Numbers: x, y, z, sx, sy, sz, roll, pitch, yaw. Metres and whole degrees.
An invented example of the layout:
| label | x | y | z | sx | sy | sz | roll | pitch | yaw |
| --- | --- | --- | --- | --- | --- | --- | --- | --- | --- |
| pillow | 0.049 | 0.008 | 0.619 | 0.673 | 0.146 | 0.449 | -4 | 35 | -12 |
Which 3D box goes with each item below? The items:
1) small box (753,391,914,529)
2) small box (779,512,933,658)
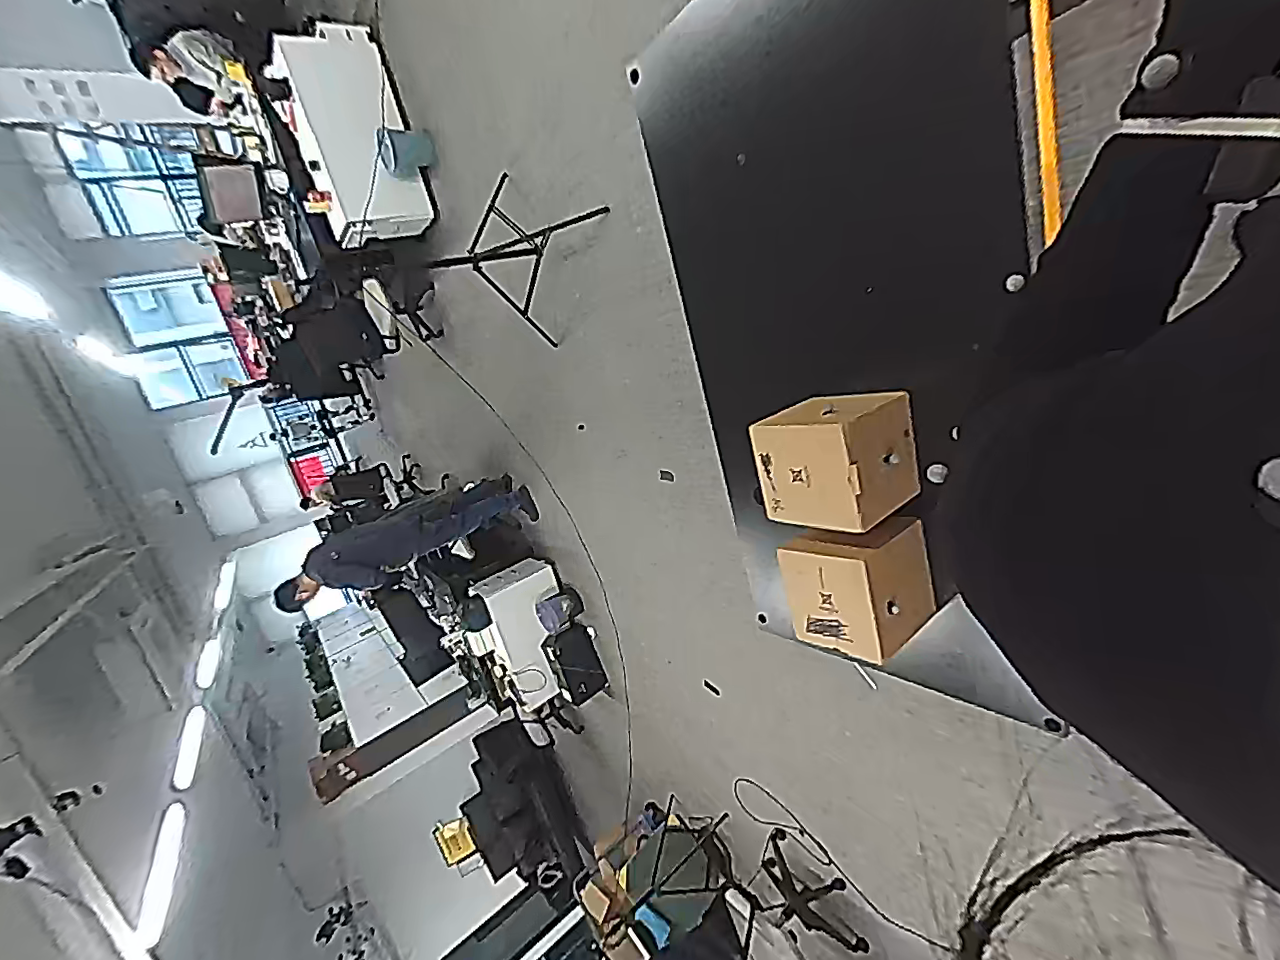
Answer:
| label | x | y | z | sx | sy | sz | roll | pitch | yaw |
| --- | --- | --- | --- | --- | --- | --- | --- | --- | --- |
| small box | 0.313 | -0.039 | 0.859 | 0.179 | 0.176 | 0.168 | 6 | 116 | 54 |
| small box | 0.367 | 0.162 | 0.911 | 0.168 | 0.176 | 0.179 | 2 | 111 | 55 |
